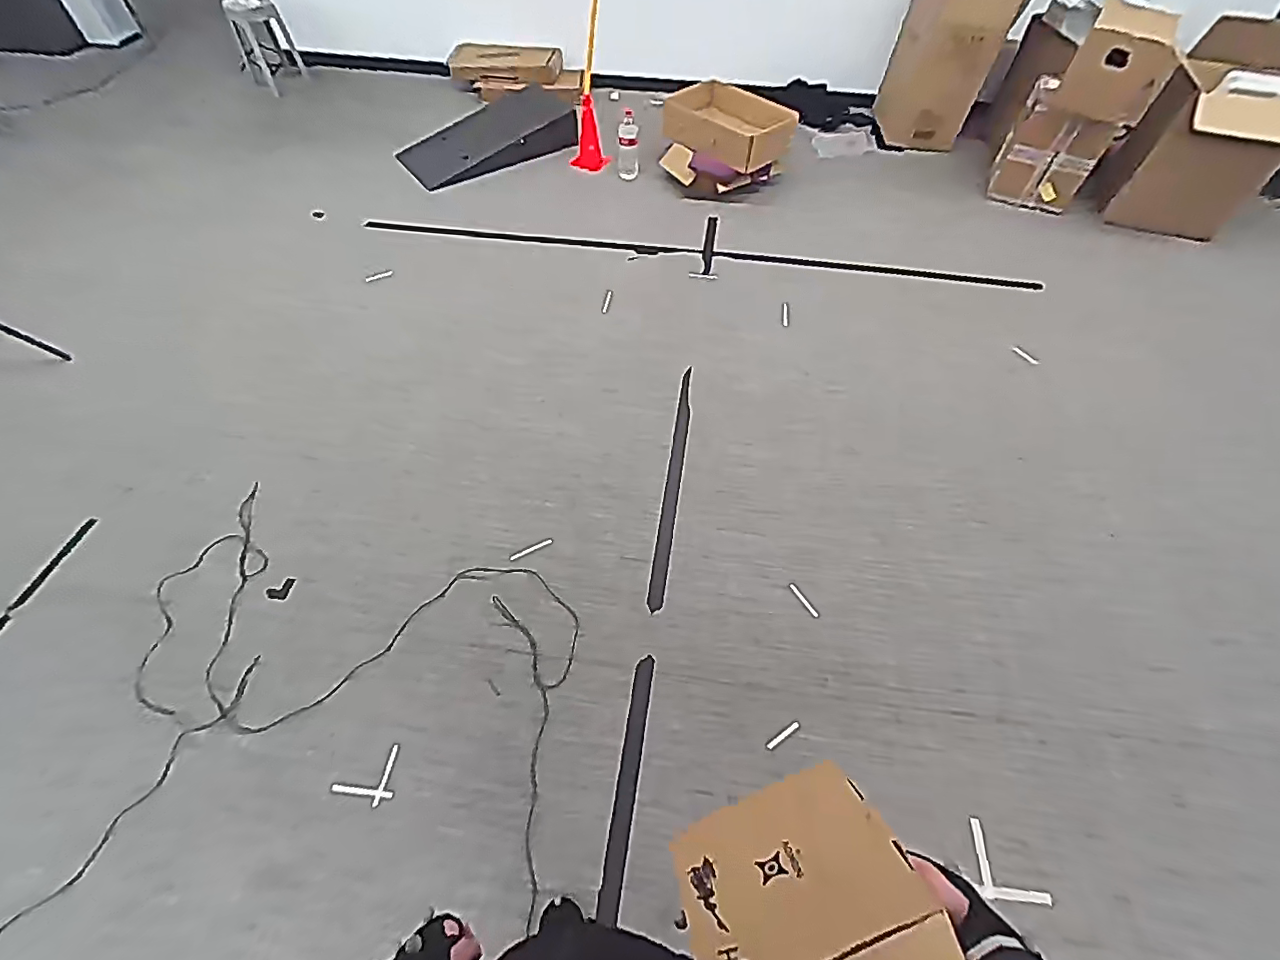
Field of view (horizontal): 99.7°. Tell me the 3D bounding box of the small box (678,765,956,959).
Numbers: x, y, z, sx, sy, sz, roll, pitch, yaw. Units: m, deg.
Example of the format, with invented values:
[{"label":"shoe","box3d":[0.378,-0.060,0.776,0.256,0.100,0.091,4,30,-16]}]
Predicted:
[{"label":"small box","box3d":[0.153,0.395,0.459,0.179,0.168,0.176,-24,97,-3]}]
